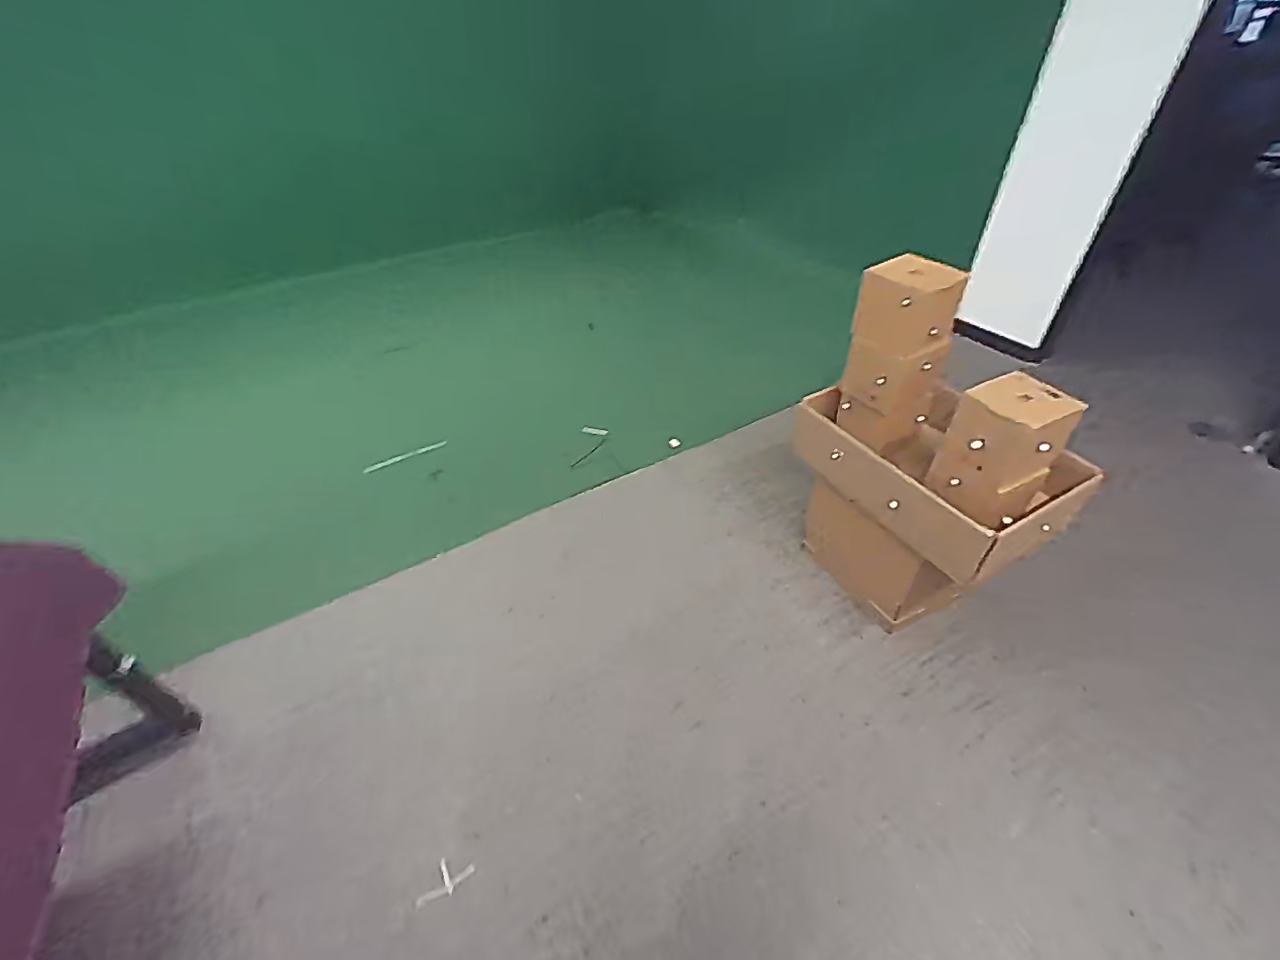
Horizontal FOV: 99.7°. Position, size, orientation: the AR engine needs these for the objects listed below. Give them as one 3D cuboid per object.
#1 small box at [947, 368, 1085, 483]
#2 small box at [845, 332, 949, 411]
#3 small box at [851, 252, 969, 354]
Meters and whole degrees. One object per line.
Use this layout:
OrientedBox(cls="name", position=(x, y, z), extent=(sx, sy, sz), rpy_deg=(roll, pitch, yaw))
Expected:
OrientedBox(cls="small box", position=(0.823, -0.120, 1.208), extent=(0.179, 0.176, 0.168), rpy_deg=(-21, 46, -17))
OrientedBox(cls="small box", position=(0.665, -0.306, 1.424), extent=(0.179, 0.176, 0.168), rpy_deg=(-25, 47, -22))
OrientedBox(cls="small box", position=(0.650, -0.433, 1.323), extent=(0.168, 0.176, 0.179), rpy_deg=(-27, 49, -23))
